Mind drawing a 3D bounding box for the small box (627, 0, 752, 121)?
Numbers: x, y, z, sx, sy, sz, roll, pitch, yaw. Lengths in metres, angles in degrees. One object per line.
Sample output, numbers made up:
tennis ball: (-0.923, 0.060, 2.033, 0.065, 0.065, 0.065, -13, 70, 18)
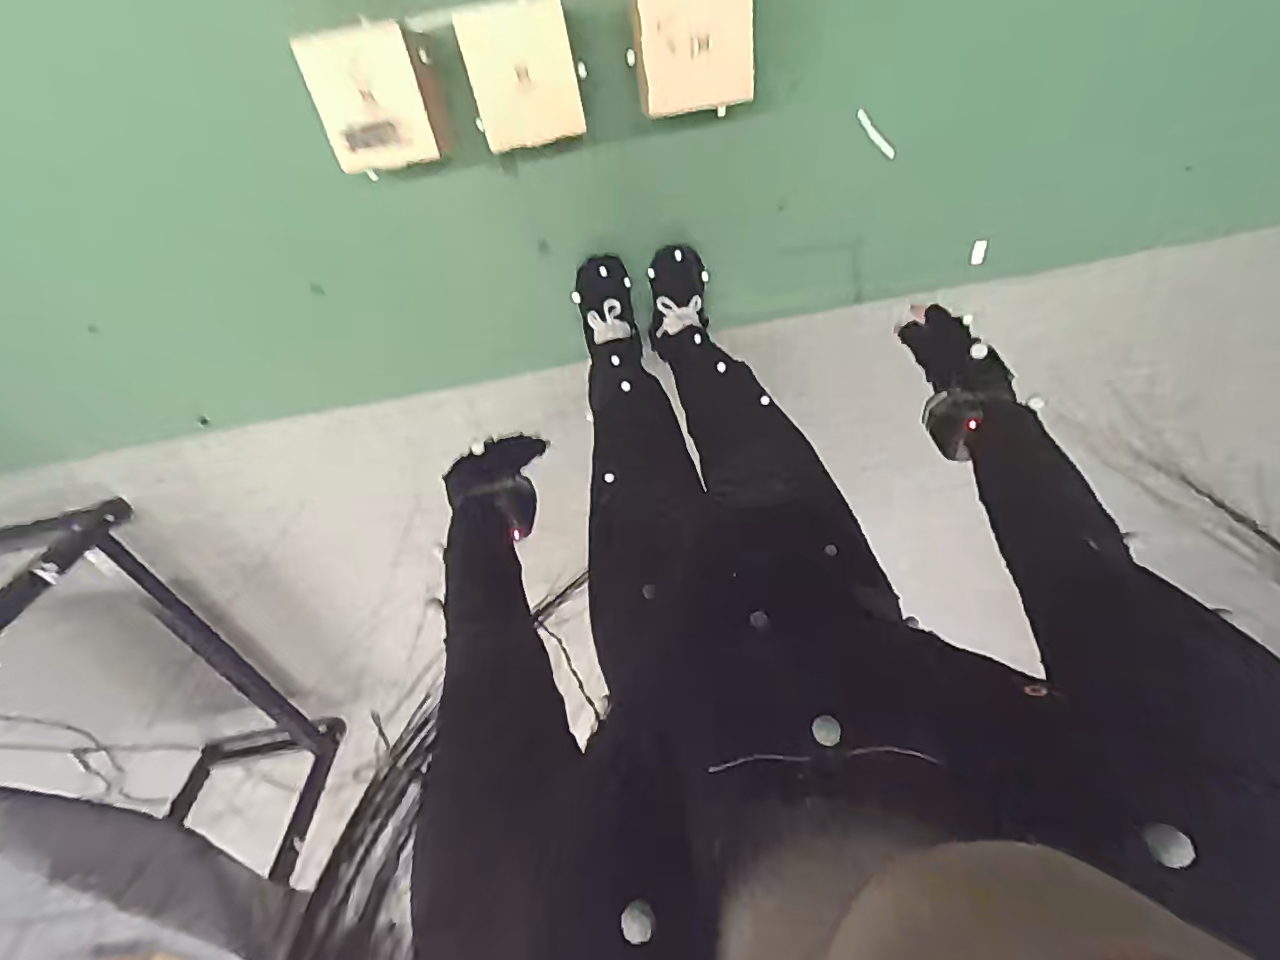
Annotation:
small box: (0.080, -0.718, 0.910, 0.179, 0.176, 0.168, -9, 126, 0)

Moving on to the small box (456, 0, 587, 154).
small box: (-0.191, -0.673, 0.915, 0.168, 0.176, 0.179, -11, 127, 2)
